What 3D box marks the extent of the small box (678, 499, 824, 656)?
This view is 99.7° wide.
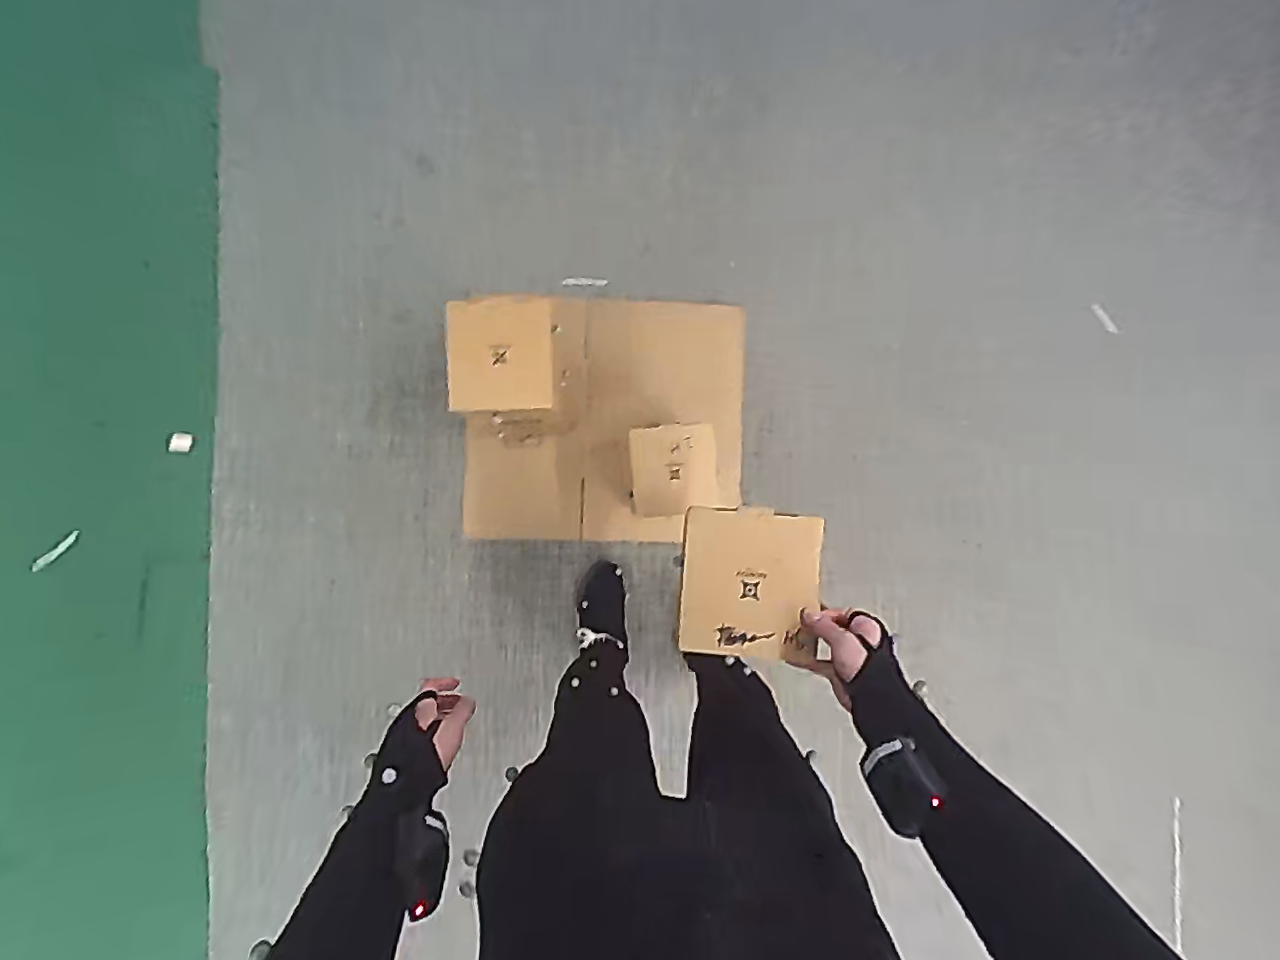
[{"bbox_3d":[0.140,0.127,0.727,0.168,0.176,0.179,4,82,4],"label":"small box"}]

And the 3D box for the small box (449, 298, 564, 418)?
[{"bbox_3d":[-0.222,-0.201,0.935,0.168,0.176,0.179,-2,89,-3],"label":"small box"}]

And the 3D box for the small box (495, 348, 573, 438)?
[{"bbox_3d":[-0.248,-0.198,1.259,0.168,0.176,0.179,-6,91,-4],"label":"small box"}]

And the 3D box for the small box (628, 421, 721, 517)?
[{"bbox_3d":[0.066,-0.023,1.111,0.168,0.176,0.179,-5,90,-5],"label":"small box"}]

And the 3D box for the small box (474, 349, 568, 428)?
[{"bbox_3d":[-0.237,-0.199,1.096,0.168,0.176,0.179,-3,89,-4],"label":"small box"}]
